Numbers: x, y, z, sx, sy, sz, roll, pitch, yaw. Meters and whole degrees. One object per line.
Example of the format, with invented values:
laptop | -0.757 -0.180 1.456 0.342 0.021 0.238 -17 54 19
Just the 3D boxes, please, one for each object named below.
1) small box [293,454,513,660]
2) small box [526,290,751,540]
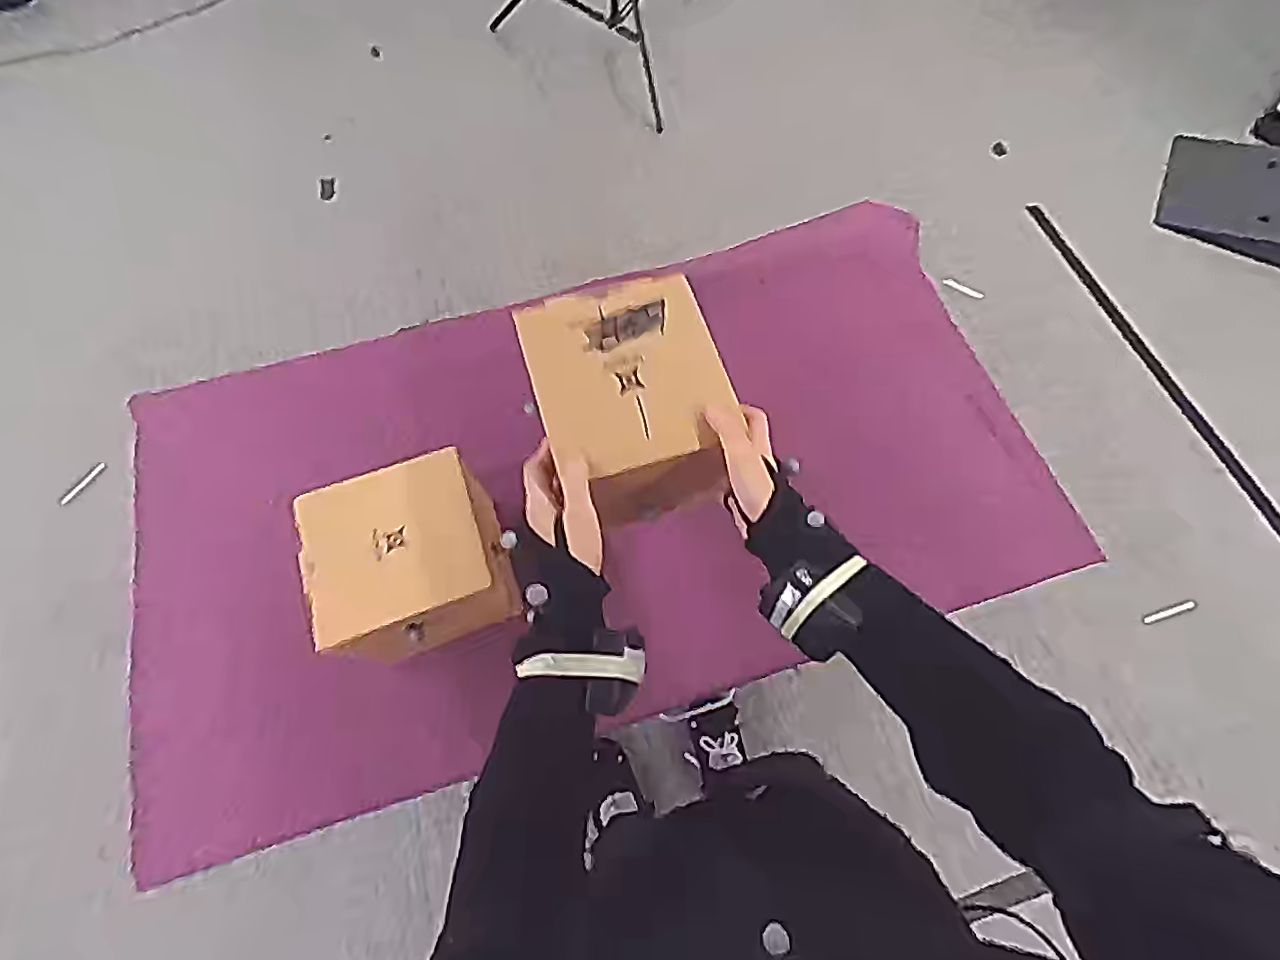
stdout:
small box | -0.258 0.096 0.627 0.179 0.176 0.168 -20 70 -8
small box | -0.008 -0.057 0.555 0.168 0.176 0.179 -15 70 -7
